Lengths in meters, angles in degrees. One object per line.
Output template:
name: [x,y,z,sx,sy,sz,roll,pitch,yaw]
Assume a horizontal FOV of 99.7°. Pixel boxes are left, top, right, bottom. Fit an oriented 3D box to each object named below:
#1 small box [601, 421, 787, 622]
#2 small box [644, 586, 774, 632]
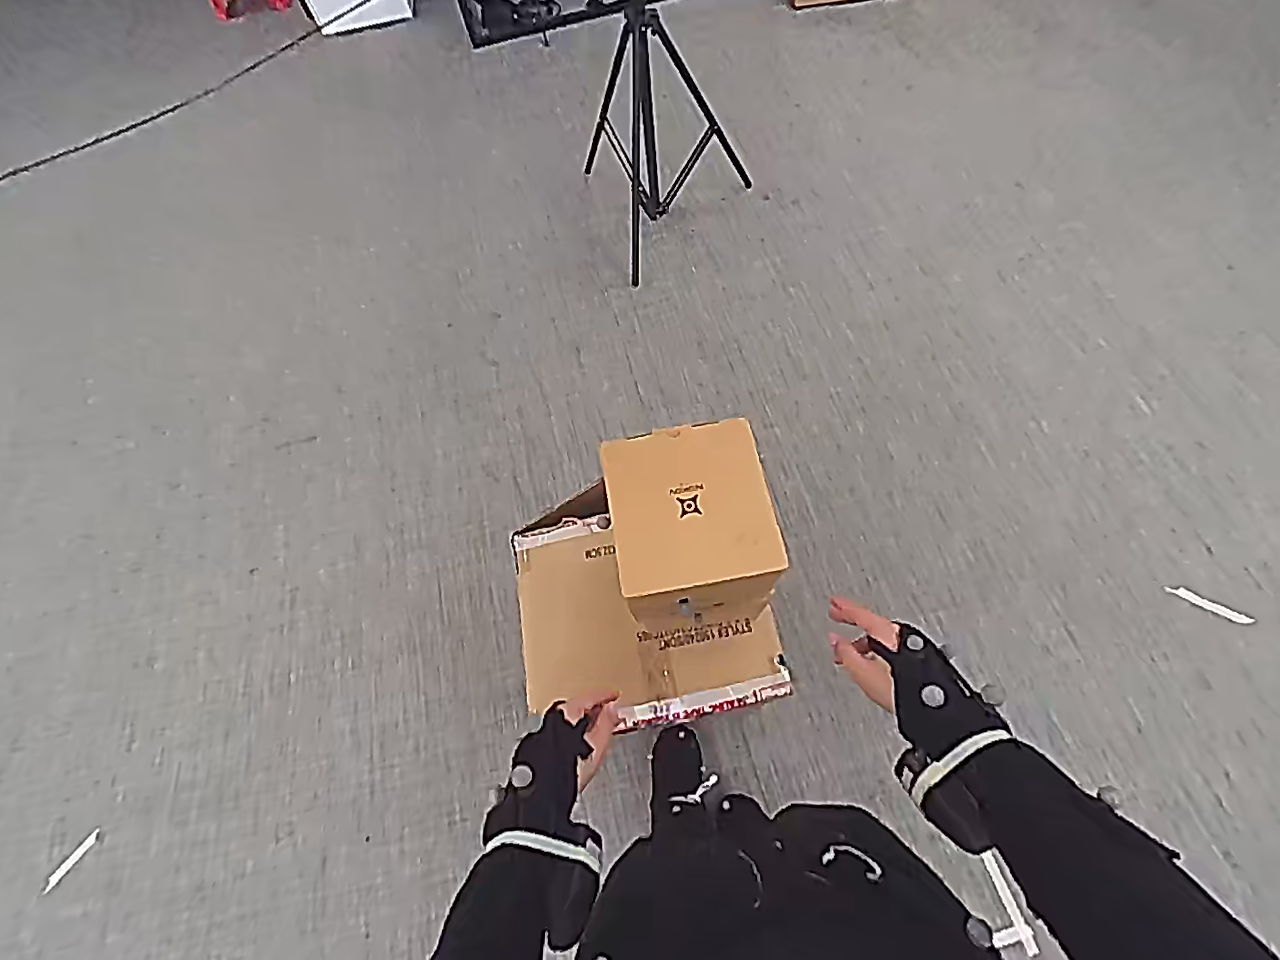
small box: [0.058,0.059,0.626,0.168,0.176,0.179,-11,65,0]
small box: [0.080,0.116,0.777,0.179,0.176,0.168,-8,66,1]
